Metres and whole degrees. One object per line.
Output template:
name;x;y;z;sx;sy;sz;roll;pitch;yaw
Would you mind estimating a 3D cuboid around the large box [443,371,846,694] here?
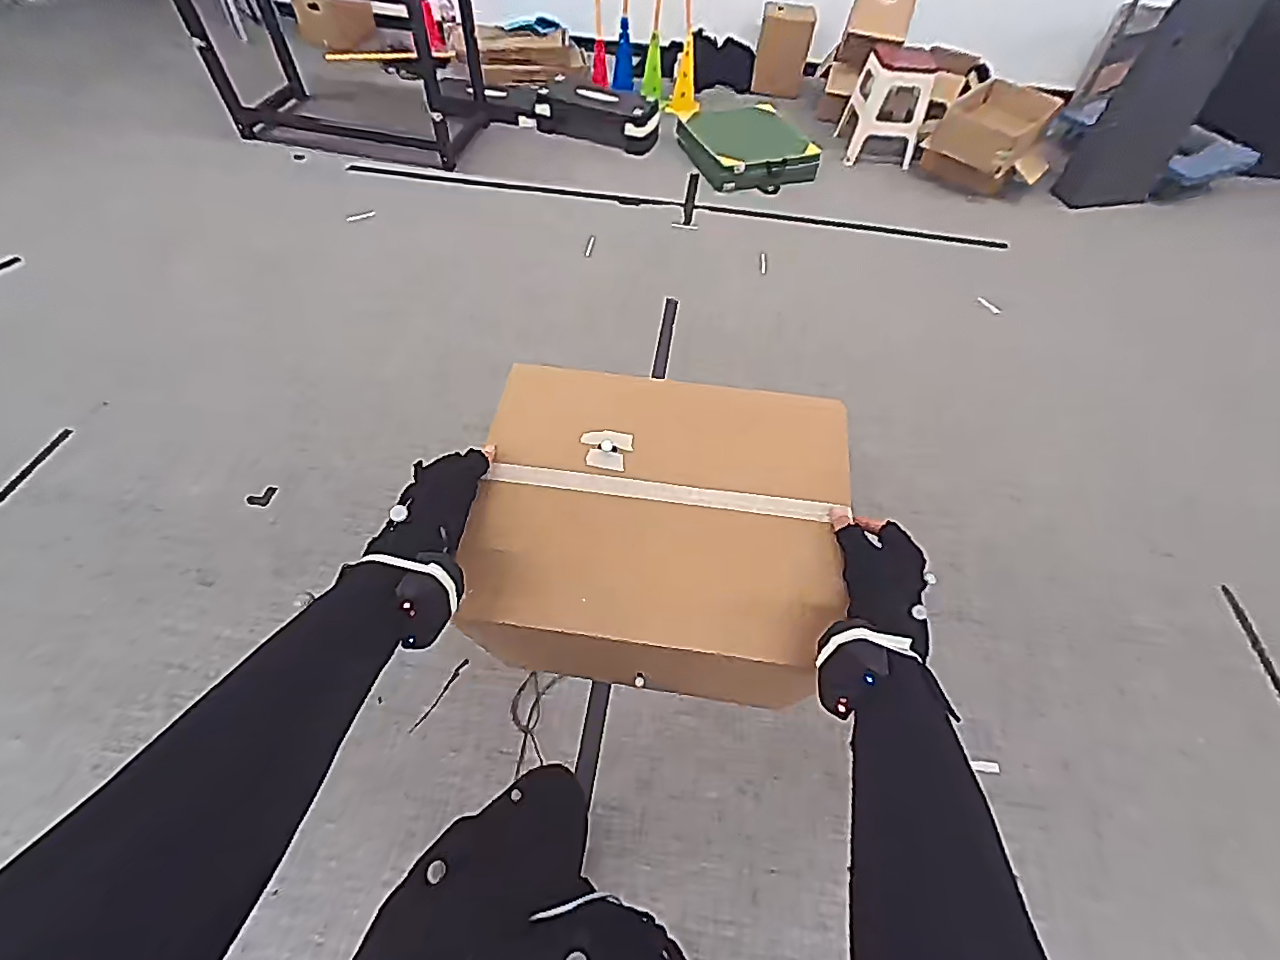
large box;0.023;0.086;0.725;0.408;0.320;0.320;7;61;5
